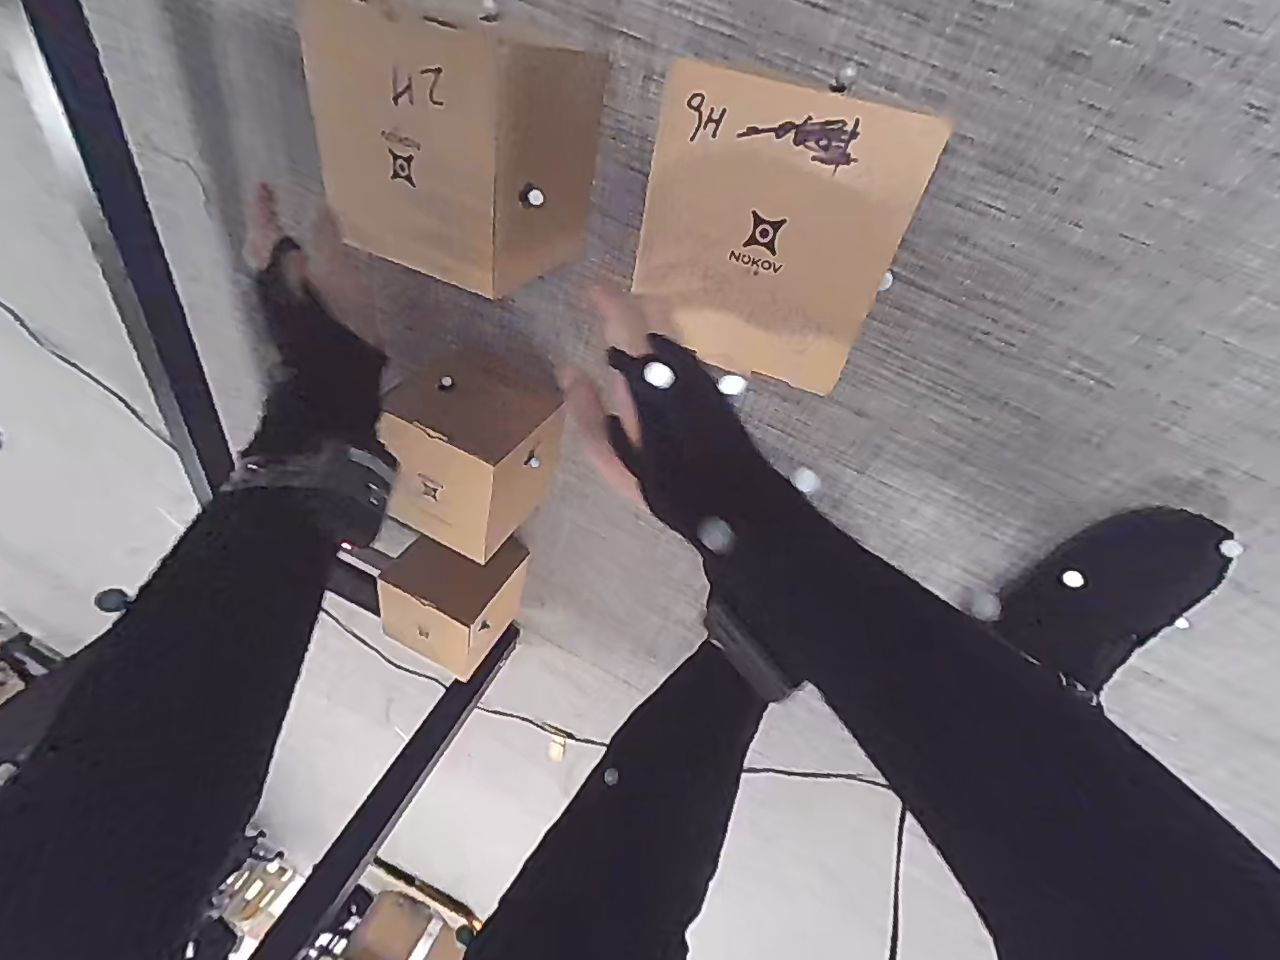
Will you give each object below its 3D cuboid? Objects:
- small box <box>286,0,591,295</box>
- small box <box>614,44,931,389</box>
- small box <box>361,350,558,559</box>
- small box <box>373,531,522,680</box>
[{"bbox_3d":[-0.156,-0.293,0.470,0.168,0.176,0.179,23,130,9],"label":"small box"},{"bbox_3d":[0.097,-0.204,0.412,0.168,0.176,0.179,21,132,9],"label":"small box"},{"bbox_3d":[-0.221,-0.040,0.690,0.168,0.176,0.179,25,131,7],"label":"small box"},{"bbox_3d":[-0.313,0.189,0.903,0.168,0.176,0.179,25,130,8],"label":"small box"}]
